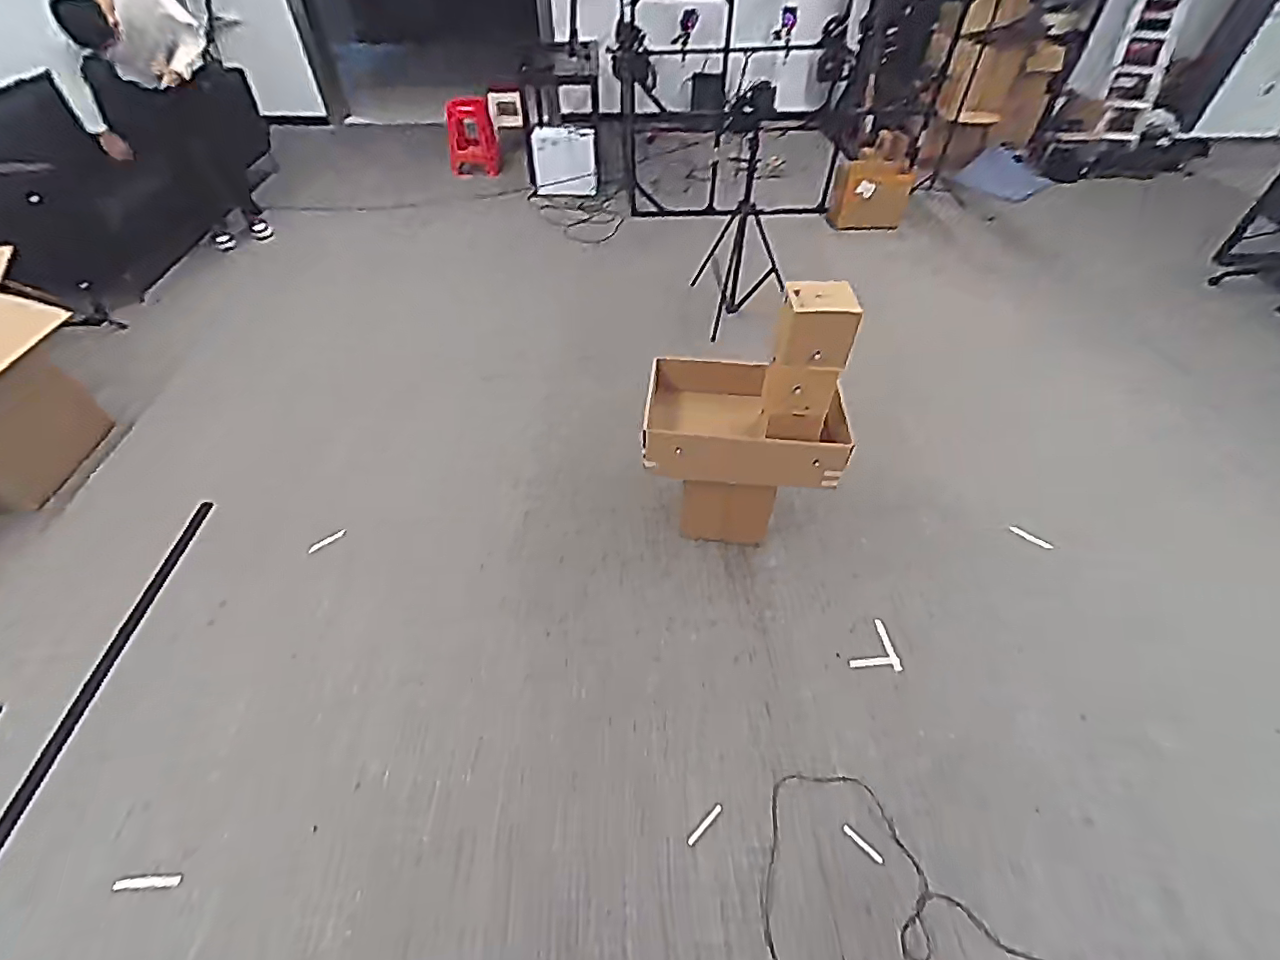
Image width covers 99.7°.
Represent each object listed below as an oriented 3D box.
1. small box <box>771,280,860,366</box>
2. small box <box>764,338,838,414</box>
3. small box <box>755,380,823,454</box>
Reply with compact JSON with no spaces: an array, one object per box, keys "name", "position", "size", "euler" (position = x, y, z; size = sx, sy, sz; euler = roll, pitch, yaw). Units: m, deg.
[{"name":"small box","position":[0.468,-0.425,1.471],"size":[0.179,0.176,0.168],"euler":[2,46,1]},{"name":"small box","position":[0.465,-0.309,1.587],"size":[0.168,0.176,0.179],"euler":[3,46,2]},{"name":"small box","position":[0.463,-0.197,1.705],"size":[0.168,0.176,0.179],"euler":[2,46,2]}]
